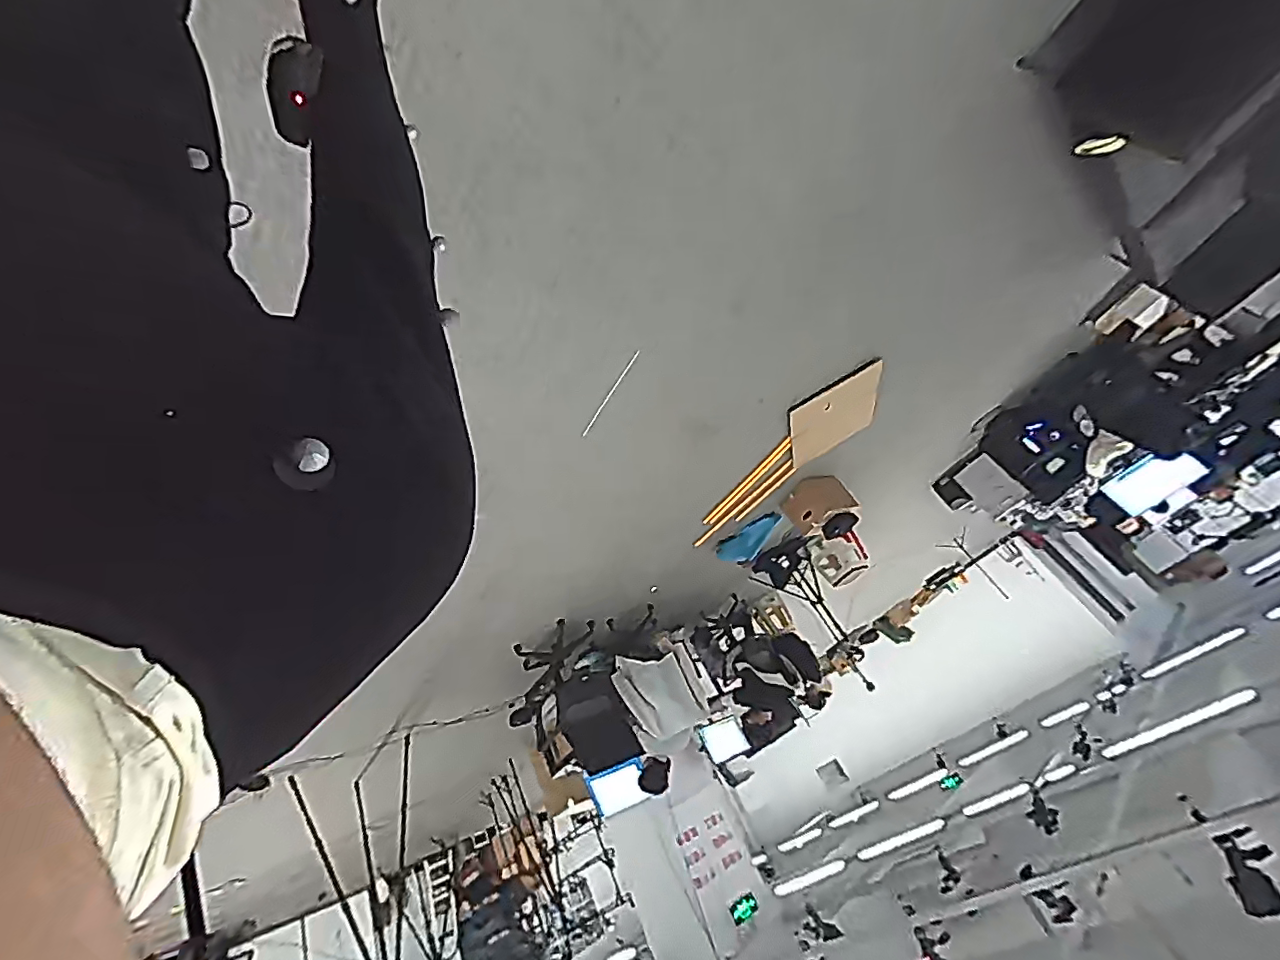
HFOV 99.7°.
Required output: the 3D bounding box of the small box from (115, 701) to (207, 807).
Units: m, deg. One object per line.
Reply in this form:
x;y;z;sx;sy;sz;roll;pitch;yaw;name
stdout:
-1.218;0.692;1.378;0.168;0.176;0.179;3;136;-42;small box
